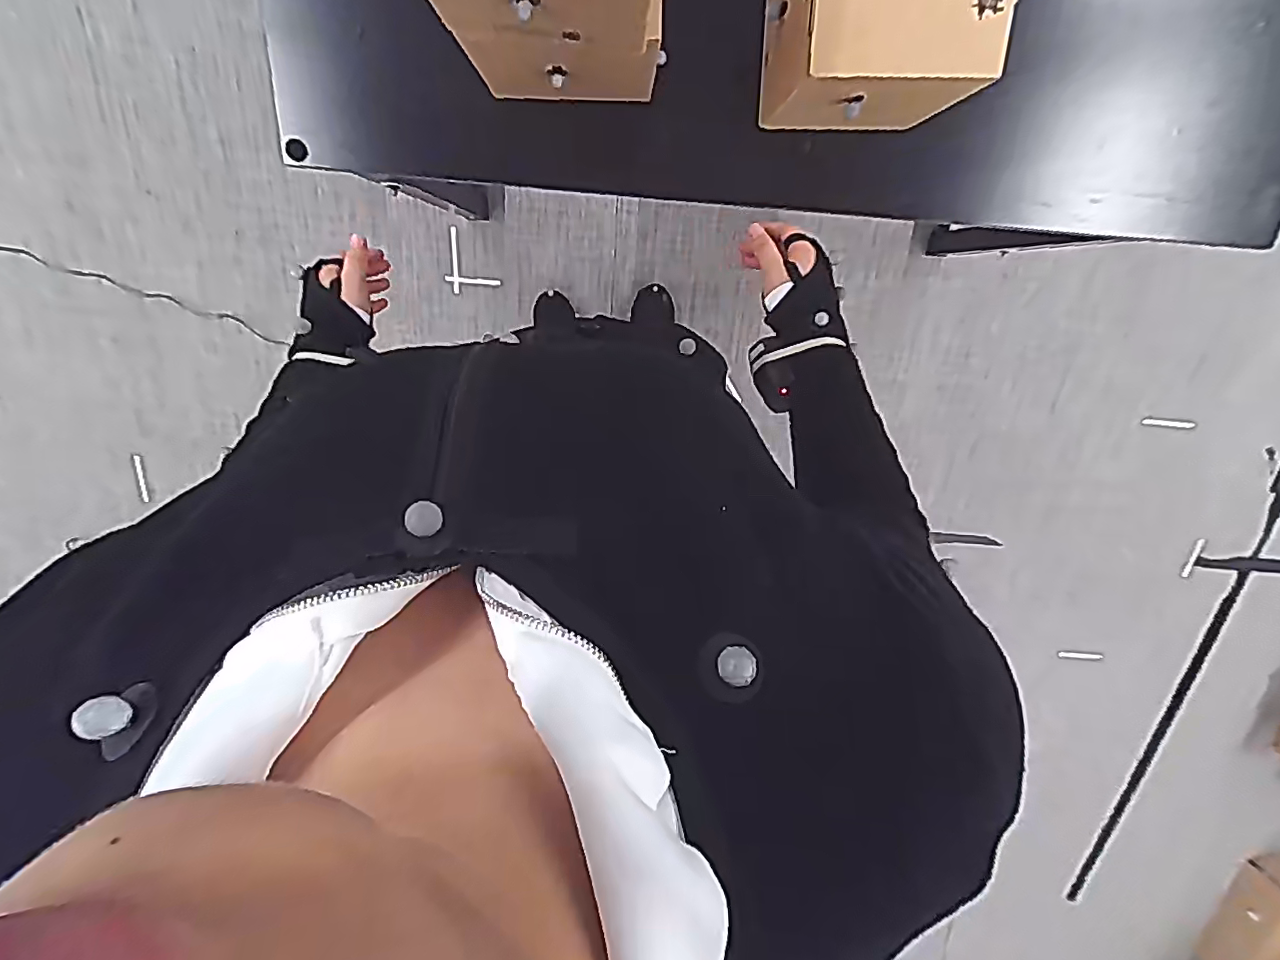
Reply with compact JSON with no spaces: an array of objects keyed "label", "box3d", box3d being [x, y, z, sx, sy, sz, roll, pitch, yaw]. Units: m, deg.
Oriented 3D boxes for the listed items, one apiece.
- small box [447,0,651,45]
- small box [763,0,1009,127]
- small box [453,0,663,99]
[{"label":"small box","box3d":[-0.065,-0.421,0.348,0.168,0.176,0.179,4,109,-4]},{"label":"small box","box3d":[0.225,-0.458,0.522,0.179,0.176,0.168,0,110,-1]},{"label":"small box","box3d":[-0.069,-0.478,0.503,0.179,0.176,0.168,1,110,-1]}]
